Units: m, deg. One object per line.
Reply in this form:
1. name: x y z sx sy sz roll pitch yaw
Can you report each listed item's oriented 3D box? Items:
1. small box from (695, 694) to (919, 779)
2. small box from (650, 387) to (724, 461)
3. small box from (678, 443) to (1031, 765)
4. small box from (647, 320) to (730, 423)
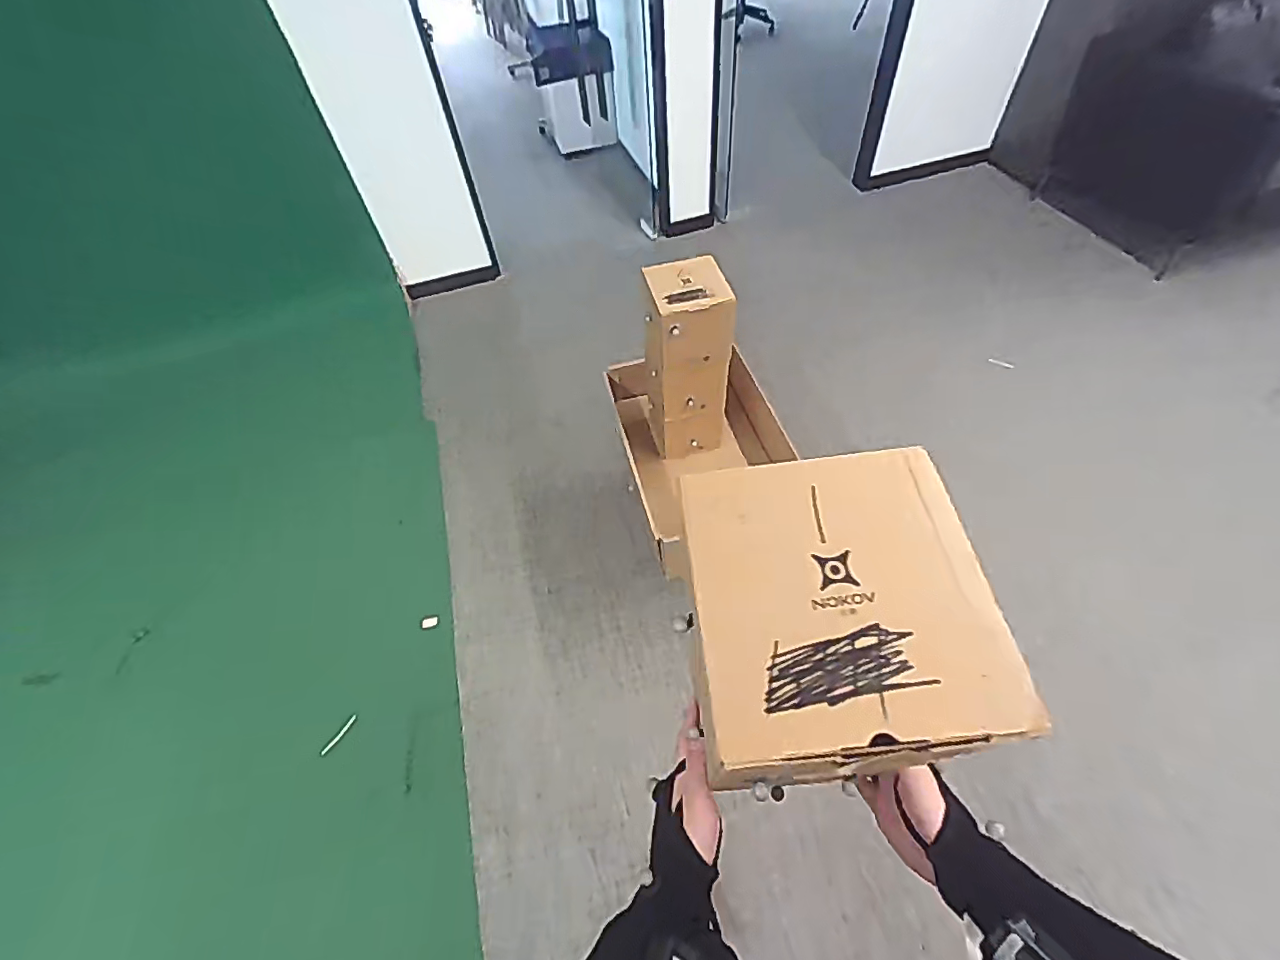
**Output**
1. small box: 0.136 0.186 0.523 0.168 0.176 0.179 -5 58 3
2. small box: 0.126 -0.180 1.504 0.168 0.176 0.179 -14 54 -5
3. small box: 0.119 0.098 0.385 0.168 0.176 0.179 -6 57 2
4. small box: 0.116 -0.273 1.372 0.168 0.176 0.179 -14 55 -6
